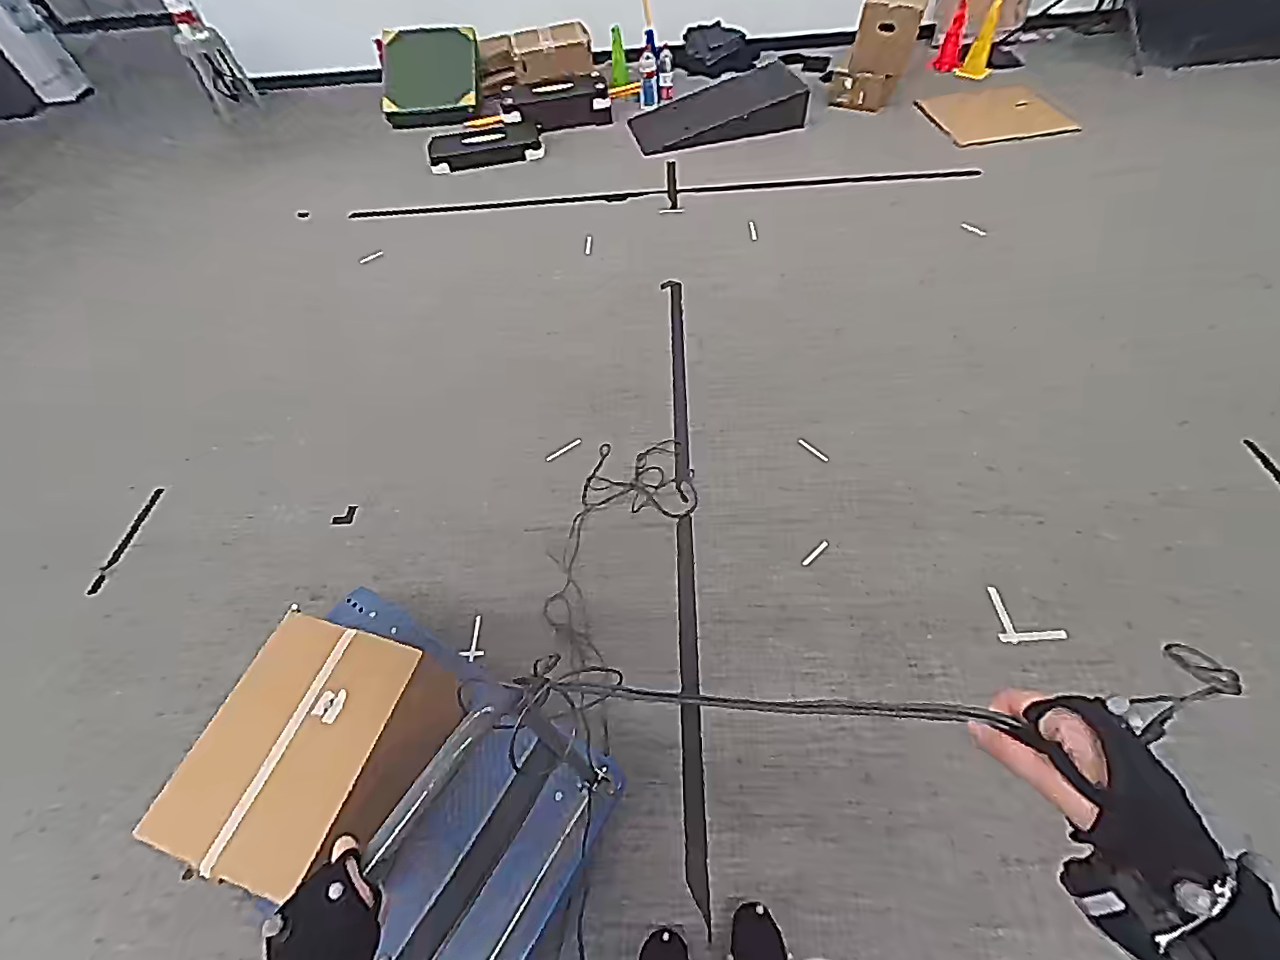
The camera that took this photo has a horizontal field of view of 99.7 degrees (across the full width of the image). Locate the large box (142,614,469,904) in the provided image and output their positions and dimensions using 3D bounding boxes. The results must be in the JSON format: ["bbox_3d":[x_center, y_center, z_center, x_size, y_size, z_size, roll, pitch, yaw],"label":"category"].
[{"bbox_3d":[-0.603,0.542,1.069,0.320,0.320,0.408,13,56,11],"label":"large box"}]
